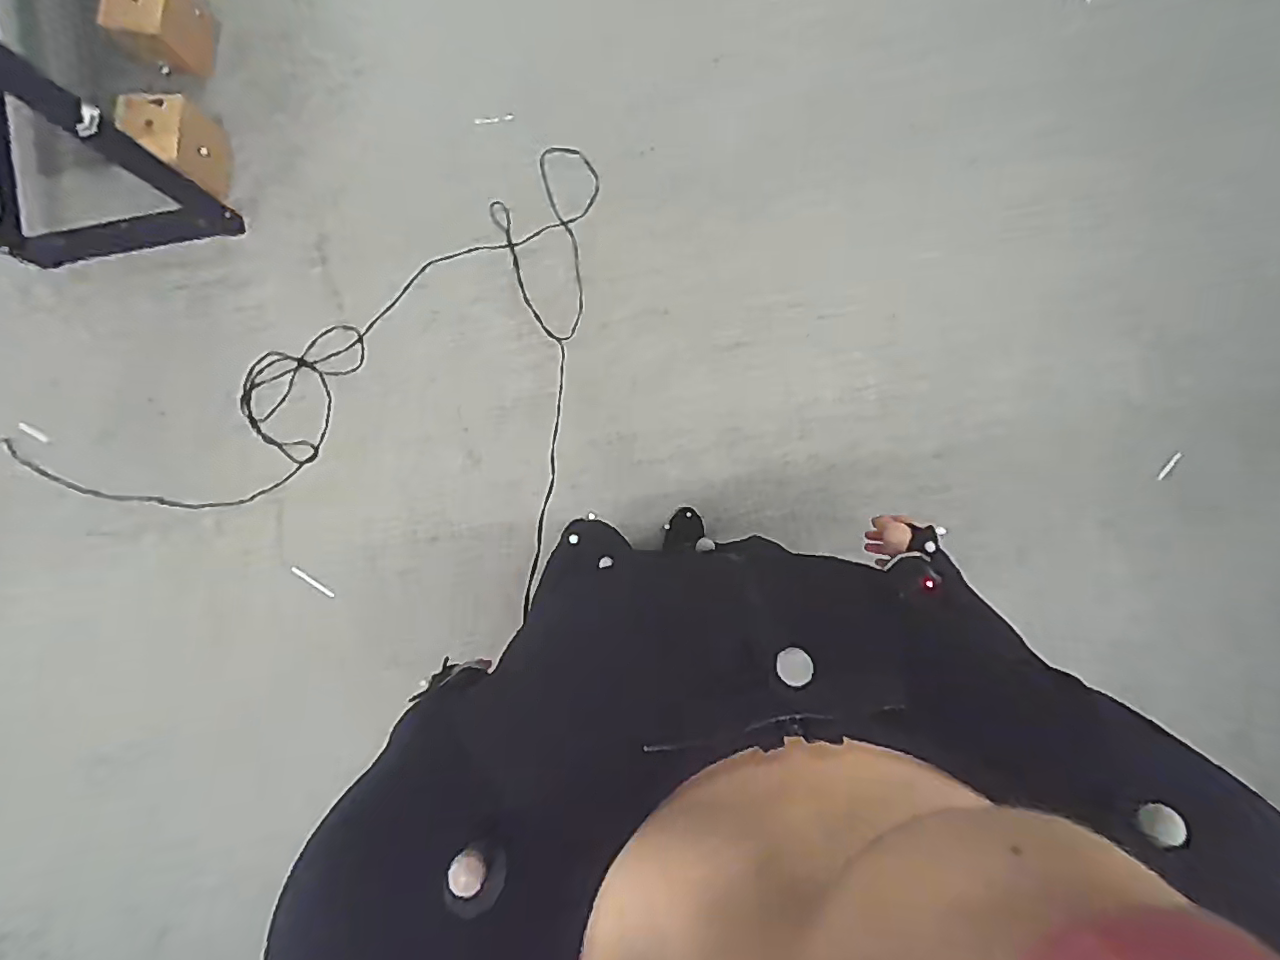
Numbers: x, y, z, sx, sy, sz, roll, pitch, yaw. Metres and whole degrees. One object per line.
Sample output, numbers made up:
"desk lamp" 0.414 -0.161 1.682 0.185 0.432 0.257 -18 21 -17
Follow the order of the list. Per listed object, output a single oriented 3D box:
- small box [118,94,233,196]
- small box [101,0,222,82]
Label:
"small box" -1.236 -0.890 1.450 0.168 0.176 0.179 2 89 0
"small box" -1.282 -1.234 1.462 0.168 0.176 0.179 10 89 1
